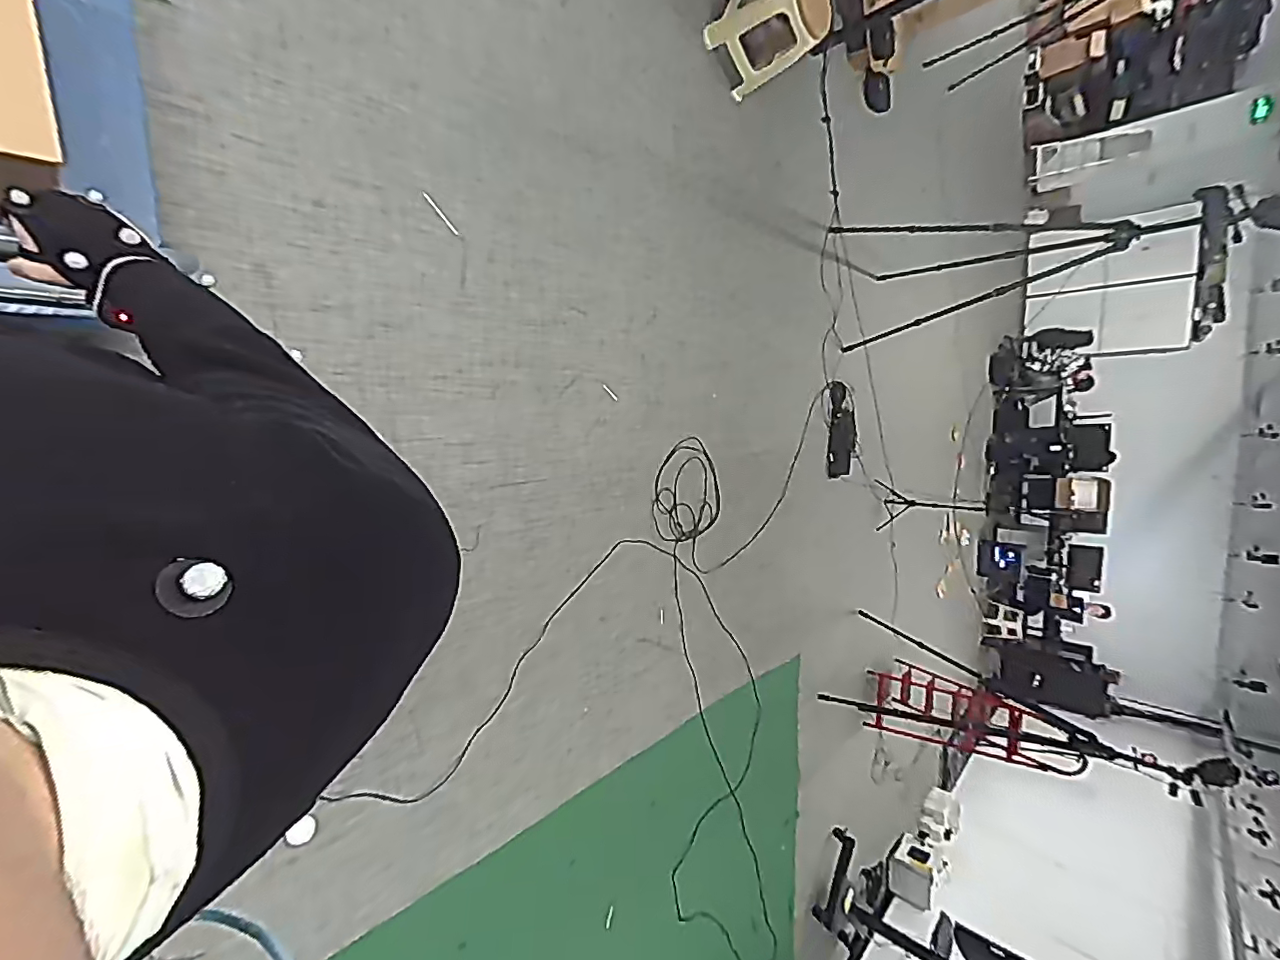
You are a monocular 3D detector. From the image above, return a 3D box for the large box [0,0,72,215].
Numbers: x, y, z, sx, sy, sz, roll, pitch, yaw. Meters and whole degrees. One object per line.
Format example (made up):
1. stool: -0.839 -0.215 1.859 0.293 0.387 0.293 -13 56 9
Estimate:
1. large box: -1.085 -0.652 0.774 0.320 0.320 0.408 -12 102 -44
